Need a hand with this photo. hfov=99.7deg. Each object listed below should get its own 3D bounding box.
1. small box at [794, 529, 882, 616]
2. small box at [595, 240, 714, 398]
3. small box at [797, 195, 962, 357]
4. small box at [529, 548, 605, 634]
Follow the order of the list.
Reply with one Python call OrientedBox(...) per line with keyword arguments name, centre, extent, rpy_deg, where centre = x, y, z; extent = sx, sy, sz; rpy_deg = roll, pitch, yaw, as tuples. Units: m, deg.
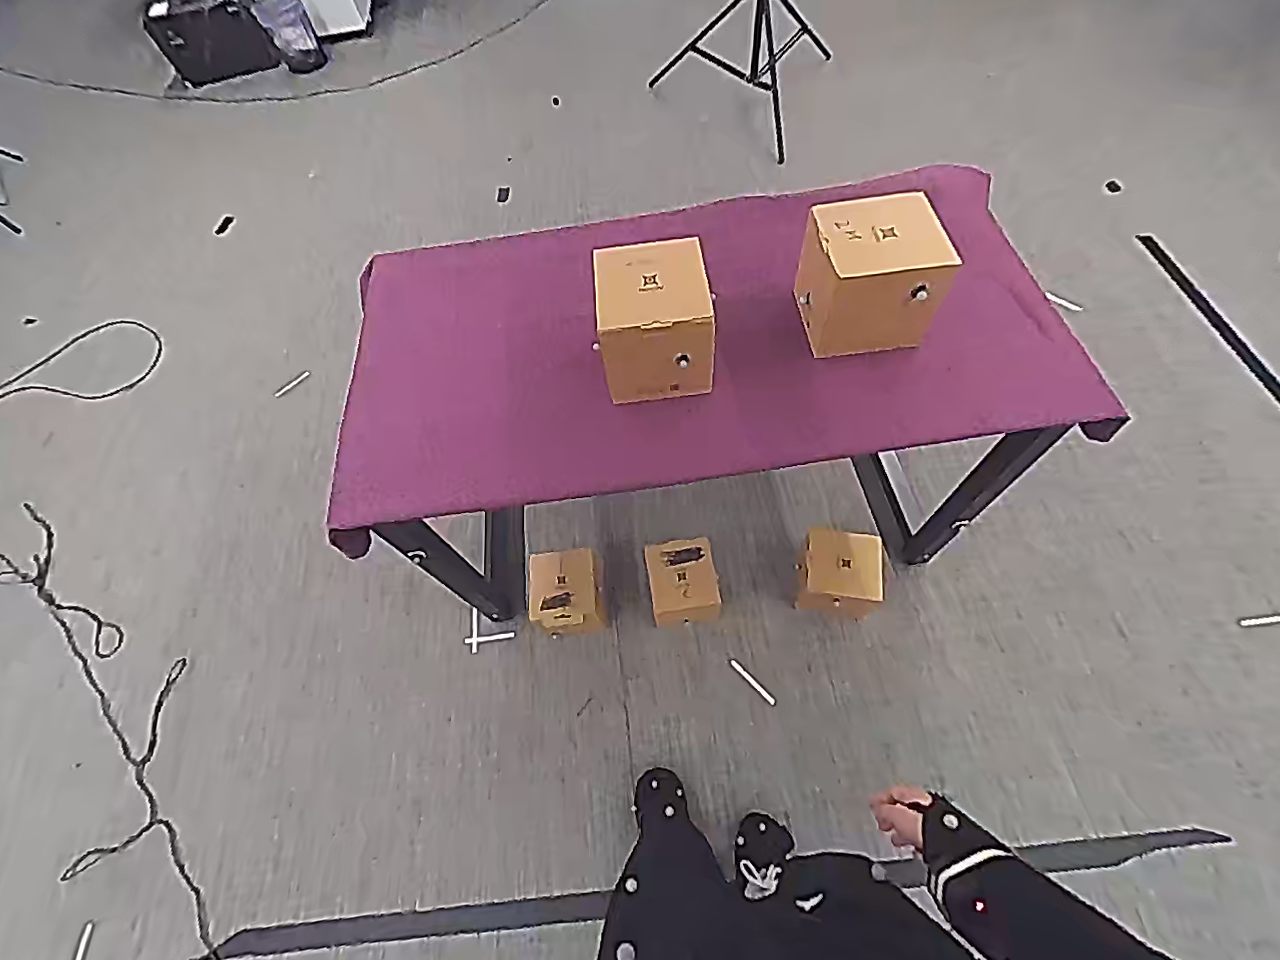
OrientedBox(name="small box", centre=(0.501, 0.241, 1.381), extent=(0.179, 0.176, 0.168), rpy_deg=(6, 63, 10))
OrientedBox(name="small box", centre=(0.024, -0.244, 0.857), extent=(0.168, 0.176, 0.179), rpy_deg=(-6, 59, 1))
OrientedBox(name="small box", centre=(0.365, -0.318, 0.862), extent=(0.179, 0.176, 0.168), rpy_deg=(-7, 60, 2))
OrientedBox(name="small box", centre=(-0.187, 0.297, 1.415), extent=(0.168, 0.176, 0.179), rpy_deg=(-7, 60, 2))
